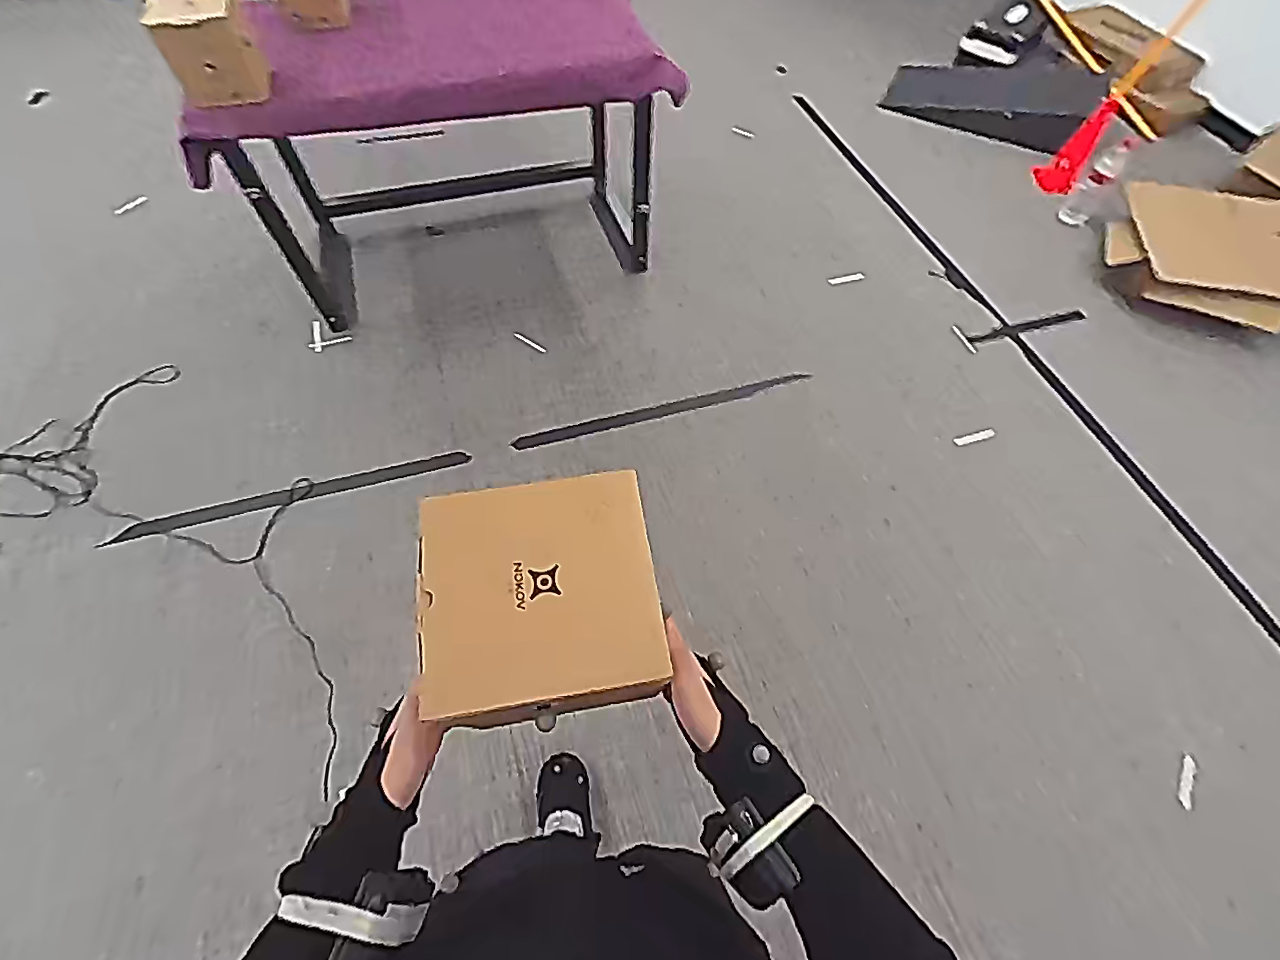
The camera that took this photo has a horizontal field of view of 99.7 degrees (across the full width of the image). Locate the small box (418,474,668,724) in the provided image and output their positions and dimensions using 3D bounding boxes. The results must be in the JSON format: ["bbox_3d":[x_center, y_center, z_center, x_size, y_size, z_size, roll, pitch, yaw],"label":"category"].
[{"bbox_3d":[-0.080,0.113,0.479,0.179,0.176,0.168,-9,65,-4],"label":"small box"}]

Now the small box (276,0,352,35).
[{"bbox_3d":[-0.915,-1.364,1.495,0.168,0.176,0.179,-12,62,-9],"label":"small box"}]

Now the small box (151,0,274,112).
[{"bbox_3d":[-1.003,-1.005,1.287,0.168,0.176,0.179,-13,62,-10],"label":"small box"}]
